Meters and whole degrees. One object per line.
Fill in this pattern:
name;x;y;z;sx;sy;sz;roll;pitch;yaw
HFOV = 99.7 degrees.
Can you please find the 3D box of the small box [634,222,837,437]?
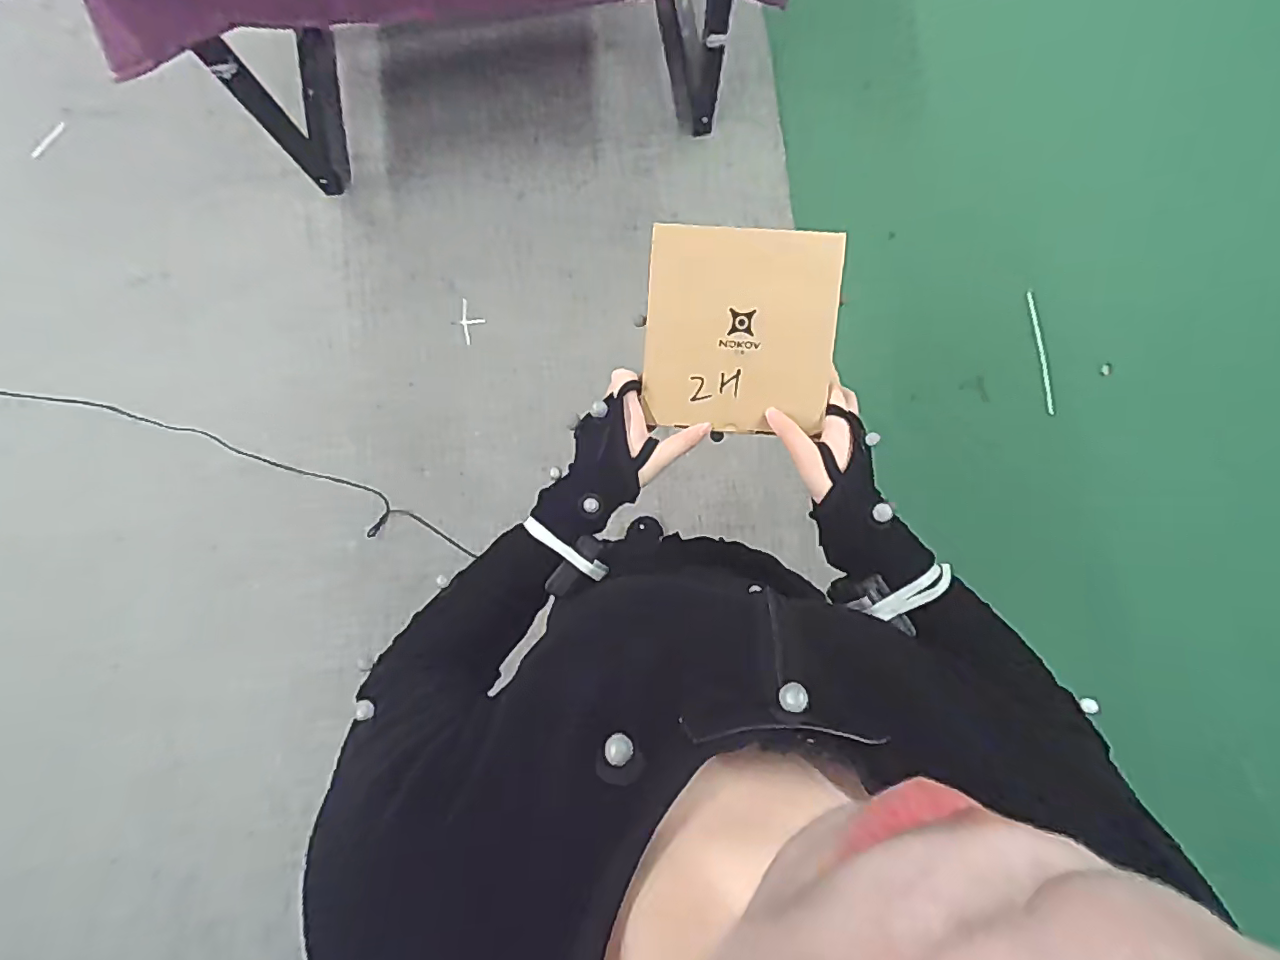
small box;0.085;-0.141;0.550;0.168;0.176;0.179;4;99;3
